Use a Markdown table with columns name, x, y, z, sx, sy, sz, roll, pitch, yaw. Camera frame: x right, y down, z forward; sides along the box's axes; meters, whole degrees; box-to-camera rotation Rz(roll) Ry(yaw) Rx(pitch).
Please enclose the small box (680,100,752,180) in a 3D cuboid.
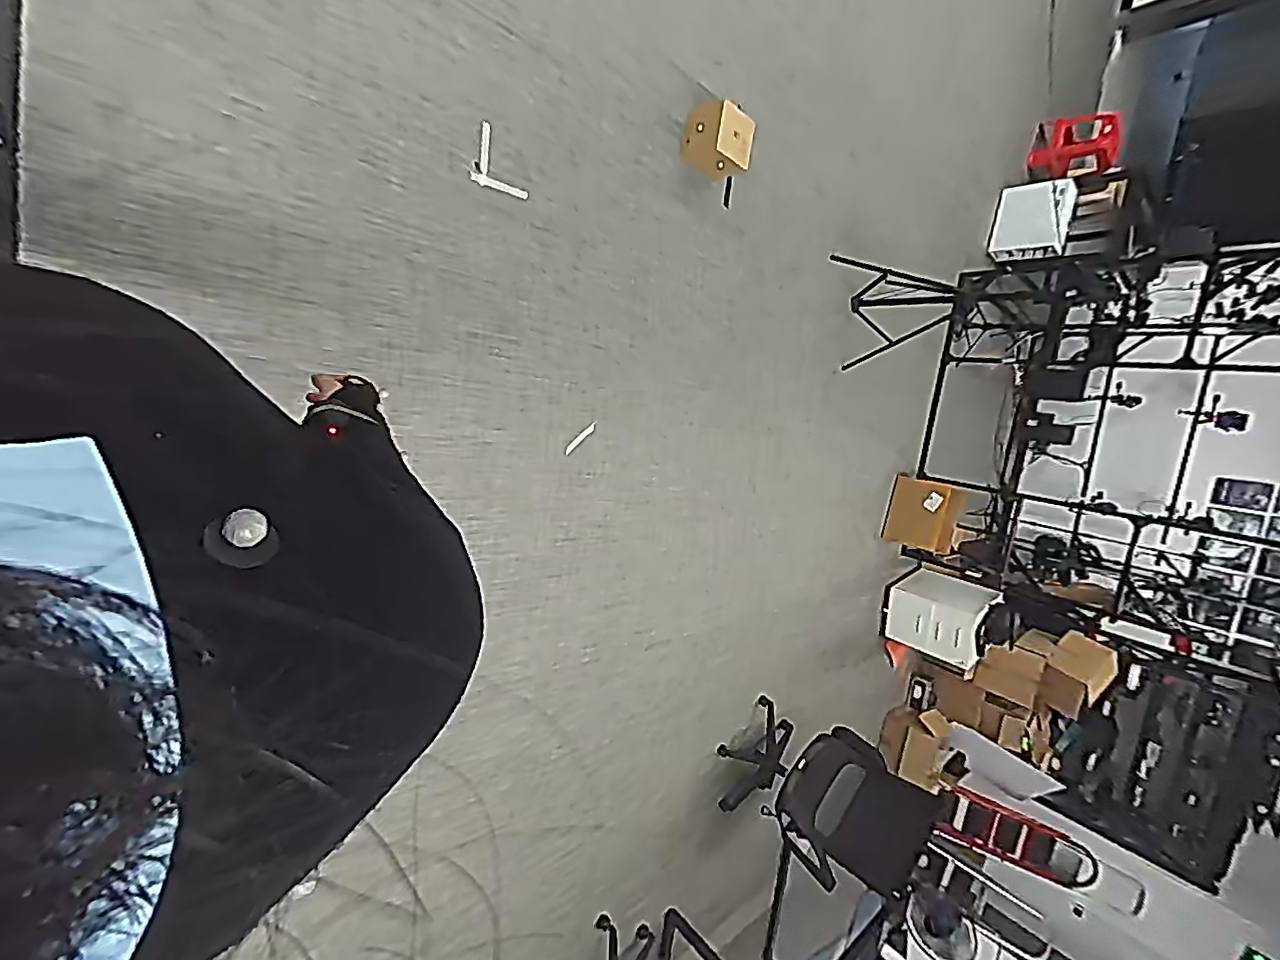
| name | x | y | z | sx | sy | sz | roll | pitch | yaw |
| --- | --- | --- | --- | --- | --- | --- | --- | --- | --- |
| small box | 0.265 | -1.190 | 1.911 | 0.179 | 0.176 | 0.168 | 5 | 98 | -44 |
